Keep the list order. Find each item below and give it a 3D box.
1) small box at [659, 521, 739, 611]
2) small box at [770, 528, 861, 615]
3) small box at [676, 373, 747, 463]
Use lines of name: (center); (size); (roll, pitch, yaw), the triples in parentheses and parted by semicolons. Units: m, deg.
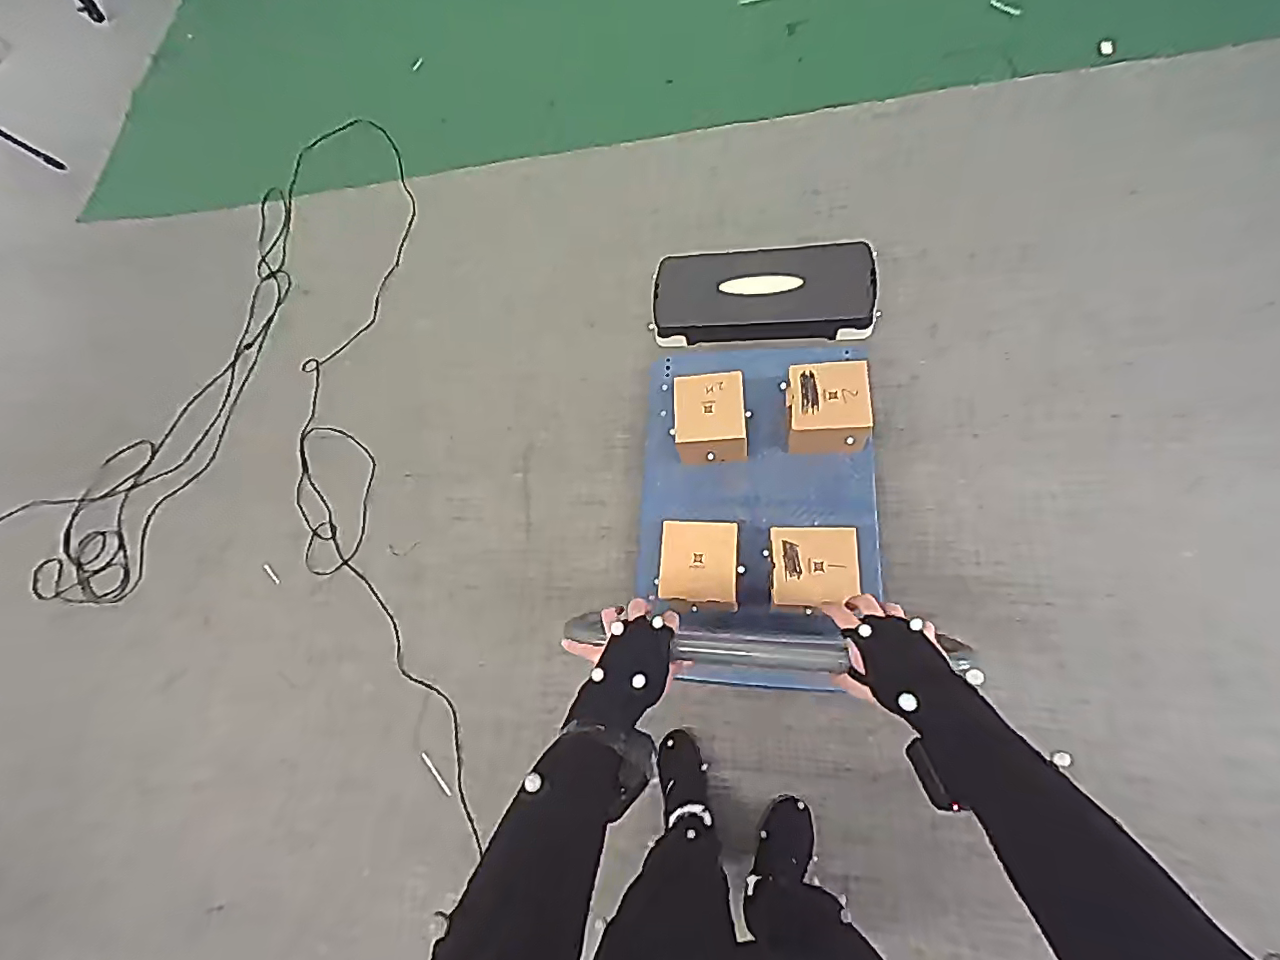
small box: (0.141, 0.201, 1.248); (0.168, 0.176, 0.179); (2, 73, 12)
small box: (0.378, 0.206, 1.195); (0.179, 0.176, 0.168); (0, 72, 11)
small box: (0.182, -0.146, 1.355); (0.168, 0.176, 0.179); (-3, 72, 11)
